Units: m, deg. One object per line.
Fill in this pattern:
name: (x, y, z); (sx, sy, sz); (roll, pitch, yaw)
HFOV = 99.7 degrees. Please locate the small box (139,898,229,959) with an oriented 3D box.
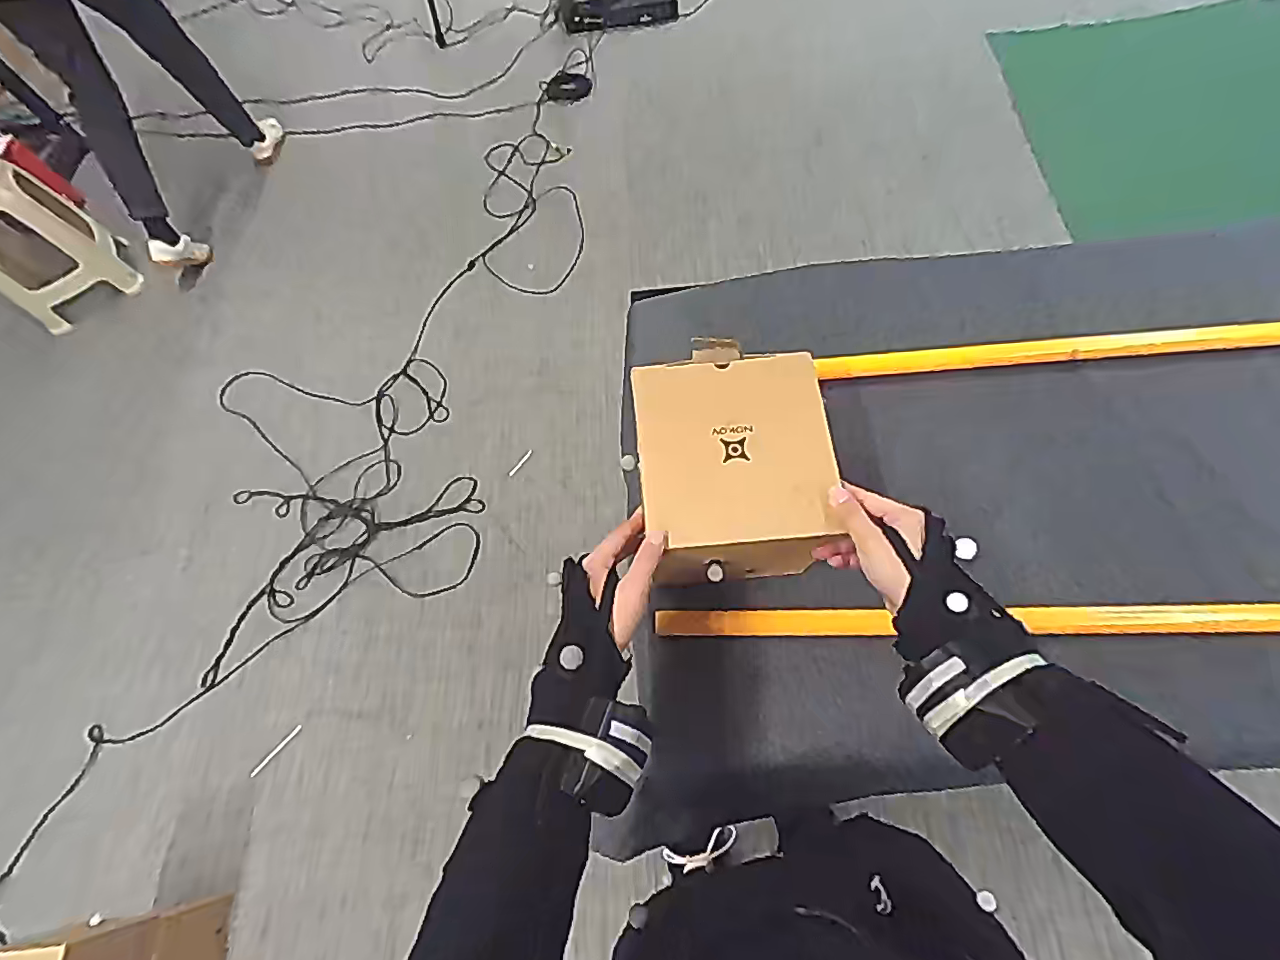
small box: (-0.941, 0.940, 1.034); (0.179, 0.176, 0.168); (-15, 67, 1)

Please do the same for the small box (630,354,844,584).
small box: (0.083, 0.002, 0.538); (0.168, 0.176, 0.179); (-5, 67, 1)

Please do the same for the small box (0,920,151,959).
small box: (-0.968, 0.862, 0.887); (0.168, 0.176, 0.179); (-8, 63, 2)
